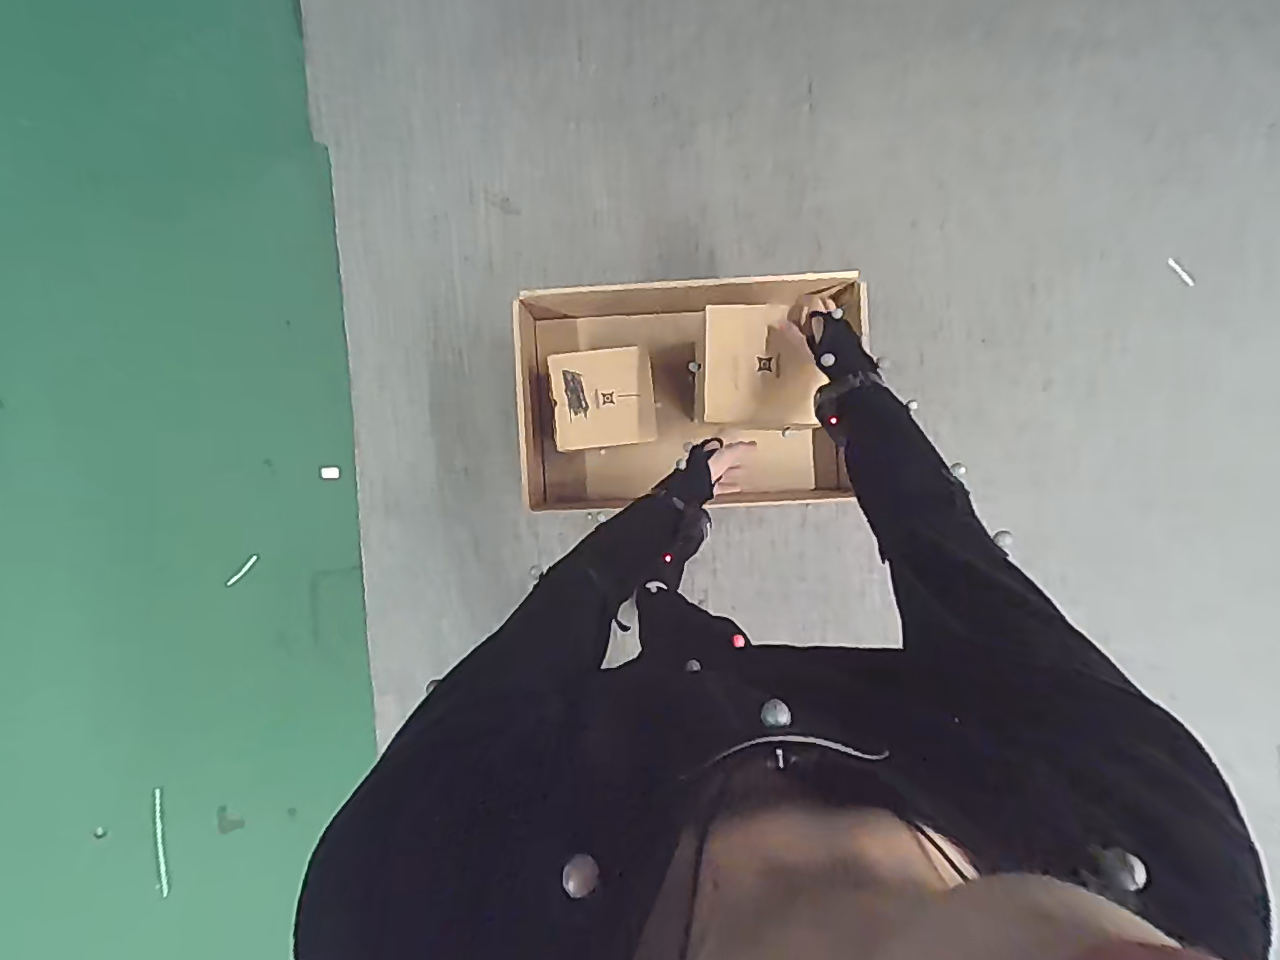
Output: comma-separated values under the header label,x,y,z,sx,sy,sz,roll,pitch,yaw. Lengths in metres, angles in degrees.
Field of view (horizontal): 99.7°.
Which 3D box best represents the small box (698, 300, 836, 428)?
label,x,y,z,sx,sy,sz,roll,pitch,yaw
small box,0.183,-0.167,0.822,0.179,0.176,0.168,2,93,4
